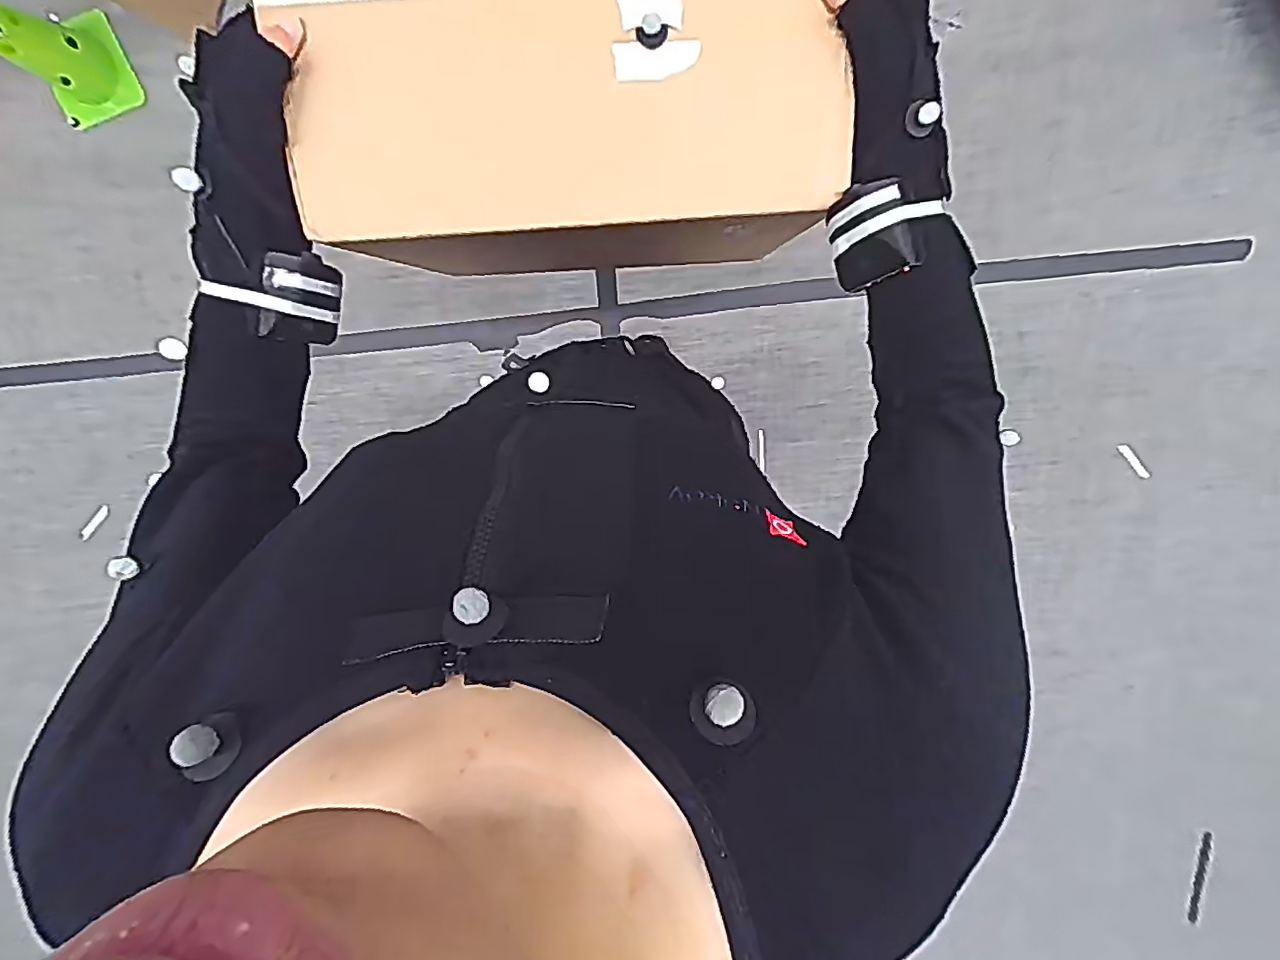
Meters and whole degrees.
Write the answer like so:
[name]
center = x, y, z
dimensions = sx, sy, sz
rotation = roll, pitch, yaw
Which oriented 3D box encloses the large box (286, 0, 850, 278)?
[large box]
center = -0.052, -0.387, 0.518
dimensions = 0.408, 0.320, 0.320
rotation = -3, 106, 2
